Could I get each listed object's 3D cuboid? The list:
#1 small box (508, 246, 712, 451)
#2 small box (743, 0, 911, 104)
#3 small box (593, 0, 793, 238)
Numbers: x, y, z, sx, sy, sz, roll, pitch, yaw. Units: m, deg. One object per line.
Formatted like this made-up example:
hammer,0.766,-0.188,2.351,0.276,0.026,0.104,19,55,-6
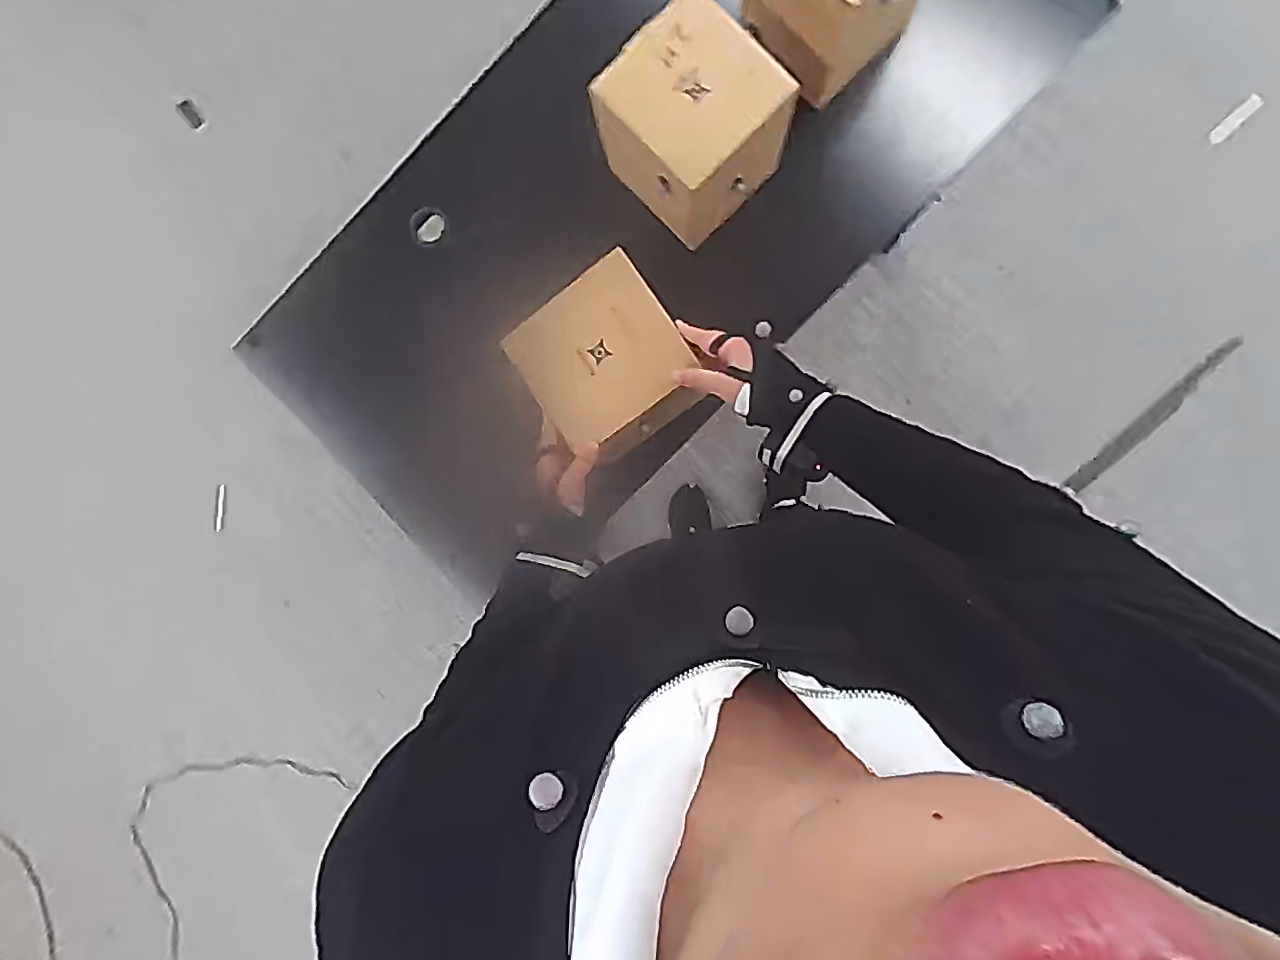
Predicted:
small box,-0.024,-0.146,0.679,0.179,0.176,0.168,-35,85,10
small box,0.246,-0.638,0.686,0.179,0.176,0.168,-43,86,4
small box,0.068,-0.449,0.704,0.168,0.176,0.179,-44,86,4
